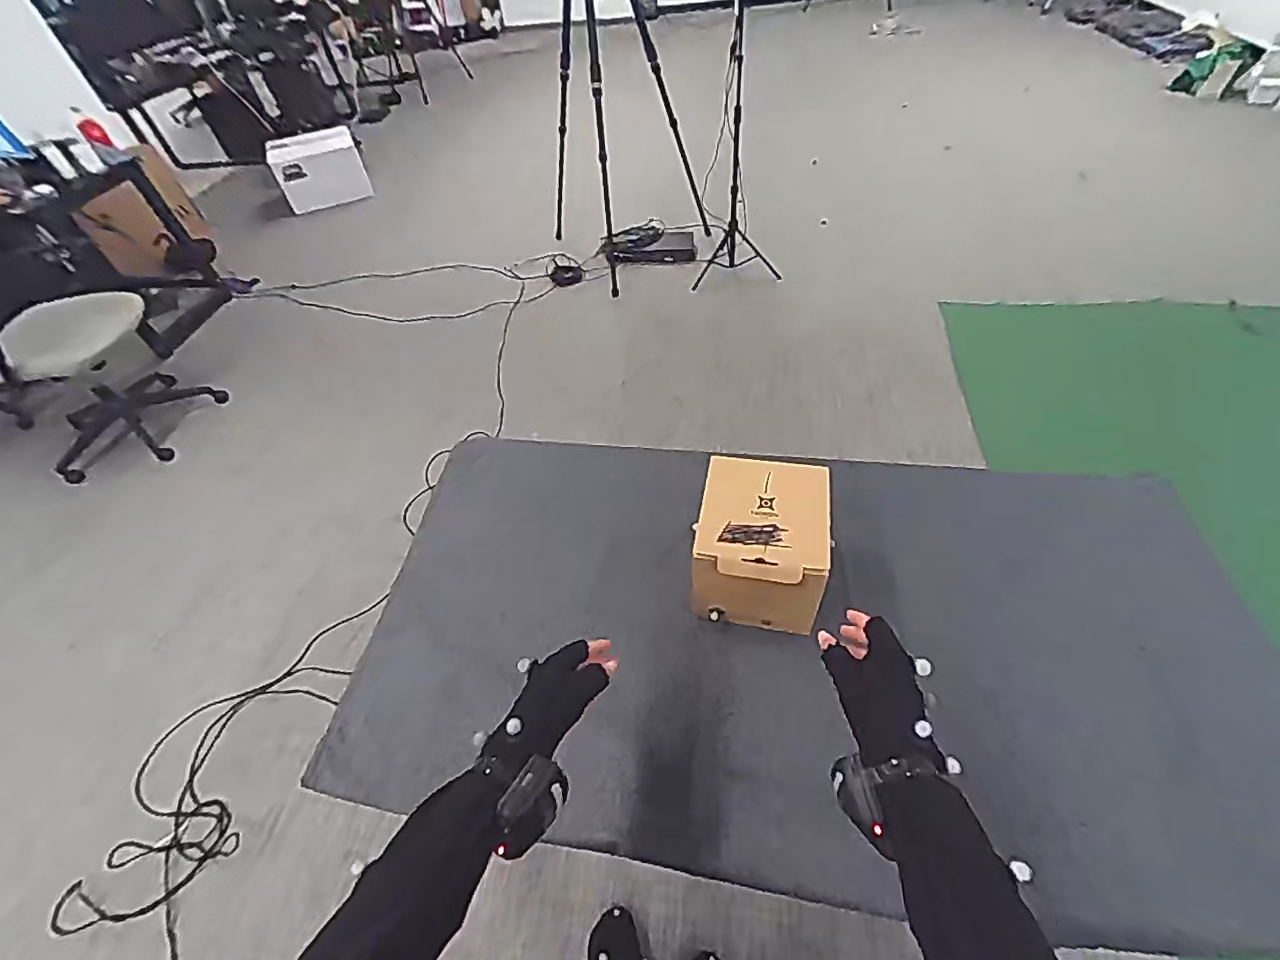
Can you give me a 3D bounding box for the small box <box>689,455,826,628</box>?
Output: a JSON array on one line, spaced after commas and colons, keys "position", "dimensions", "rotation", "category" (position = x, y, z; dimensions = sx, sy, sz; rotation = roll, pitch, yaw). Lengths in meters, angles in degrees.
[{"position": [0.166, 0.089, 0.770], "dimensions": [0.168, 0.176, 0.179], "rotation": [7, 50, 12], "category": "small box"}]
